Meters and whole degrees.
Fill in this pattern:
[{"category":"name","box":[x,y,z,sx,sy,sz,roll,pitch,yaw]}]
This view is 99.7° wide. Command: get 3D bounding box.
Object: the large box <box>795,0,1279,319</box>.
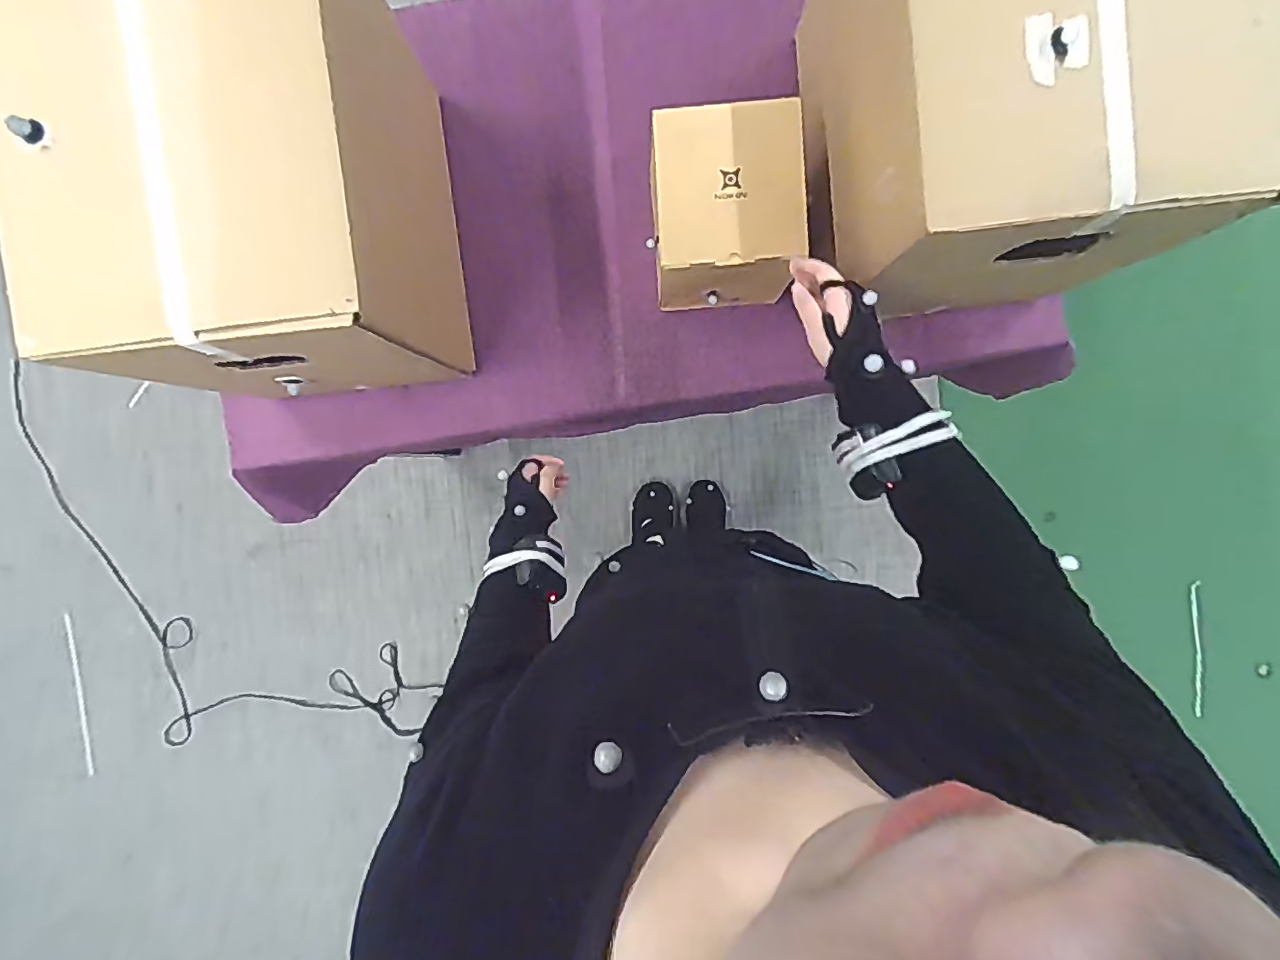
[{"category":"large box","box":[0.383,-0.430,0.608,0.320,0.320,0.408,-5,93,1]}]
